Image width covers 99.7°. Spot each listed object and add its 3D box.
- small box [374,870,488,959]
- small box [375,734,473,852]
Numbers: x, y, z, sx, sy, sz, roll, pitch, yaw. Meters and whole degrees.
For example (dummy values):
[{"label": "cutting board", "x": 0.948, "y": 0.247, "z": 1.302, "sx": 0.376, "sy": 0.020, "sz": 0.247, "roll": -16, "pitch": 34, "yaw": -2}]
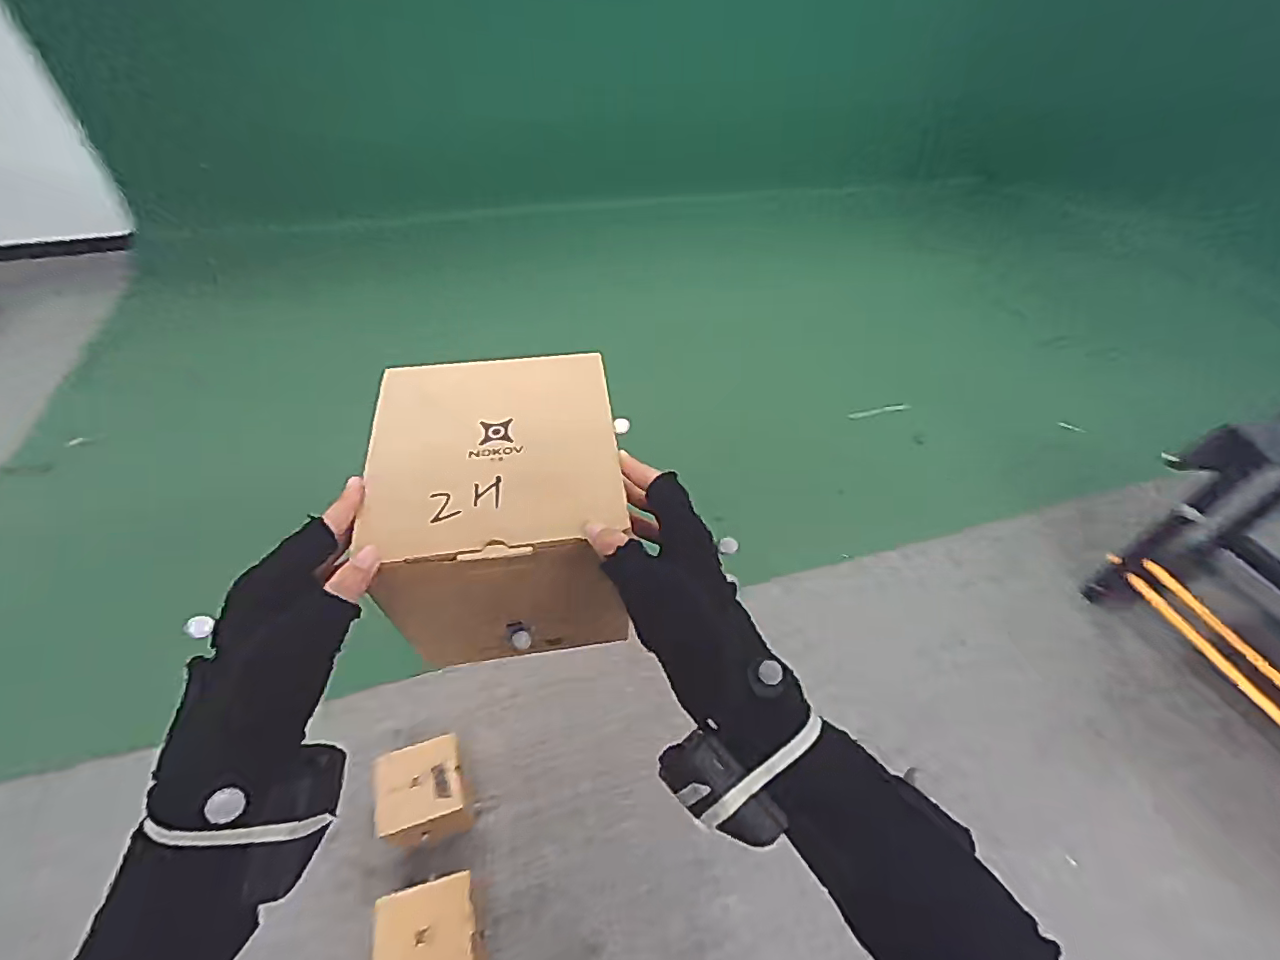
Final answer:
[{"label": "small box", "x": -0.403, "y": 0.899, "z": 1.055, "sx": 0.179, "sy": 0.176, "sz": 0.168, "roll": -10, "pitch": 47, "yaw": -13}, {"label": "small box", "x": -0.485, "y": 0.711, "z": 1.229, "sx": 0.179, "sy": 0.176, "sz": 0.168, "roll": -13, "pitch": 48, "yaw": -15}]
